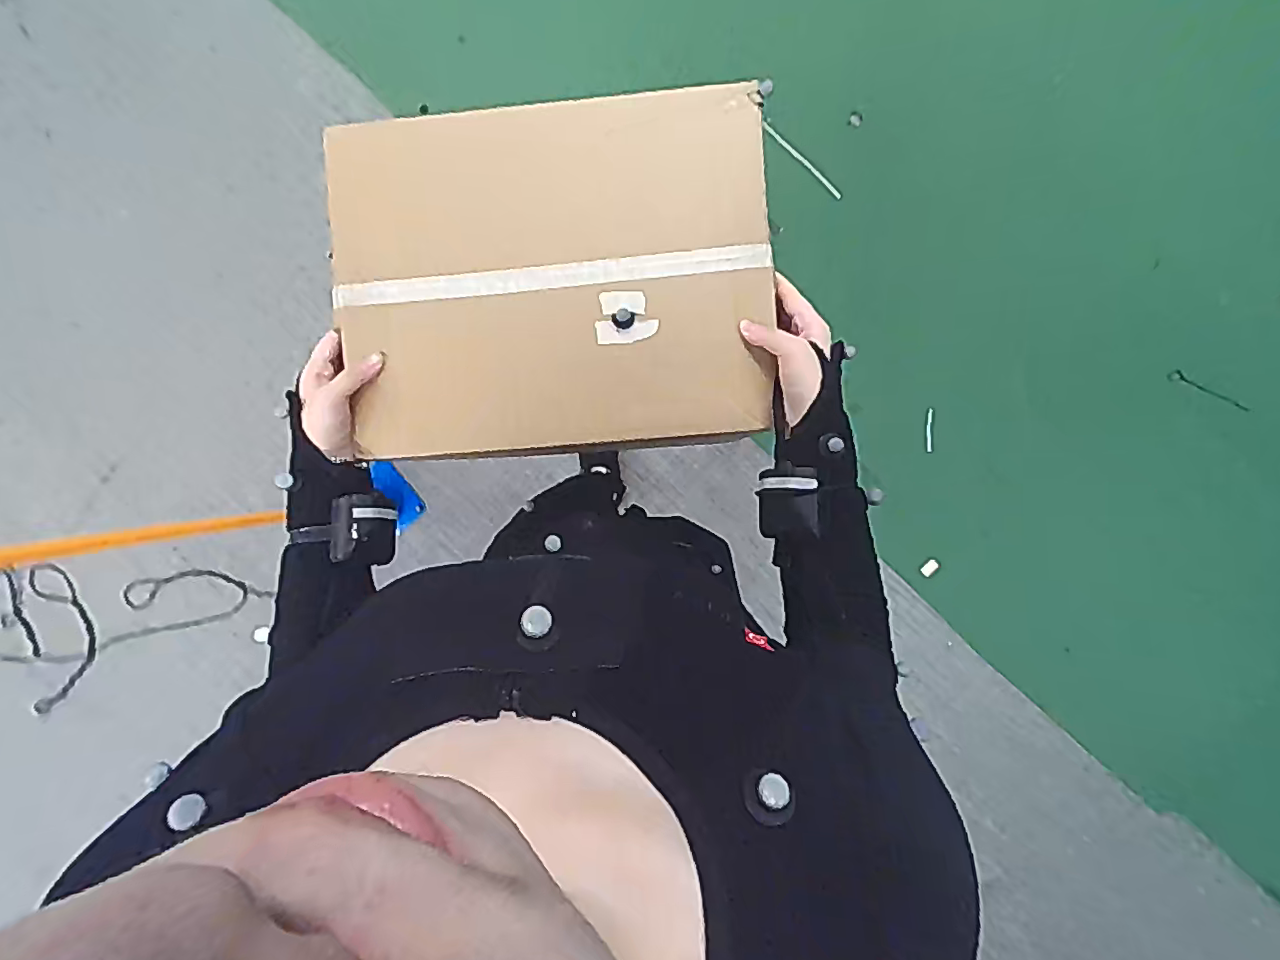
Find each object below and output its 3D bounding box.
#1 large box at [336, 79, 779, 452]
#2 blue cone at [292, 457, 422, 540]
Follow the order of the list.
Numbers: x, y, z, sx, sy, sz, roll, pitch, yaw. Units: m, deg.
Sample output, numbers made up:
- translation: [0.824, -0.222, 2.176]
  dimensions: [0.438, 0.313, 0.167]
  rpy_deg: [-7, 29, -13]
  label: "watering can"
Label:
- translation: [-0.076, -0.206, 0.655]
  dimensions: [0.408, 0.320, 0.320]
  rpy_deg: [-4, 93, 1]
  label: "large box"
- translation: [-0.735, 0.054, 1.346]
  dimensions: [0.192, 0.380, 0.193]
  rpy_deg: [-38, 90, 1]
  label: "blue cone"
